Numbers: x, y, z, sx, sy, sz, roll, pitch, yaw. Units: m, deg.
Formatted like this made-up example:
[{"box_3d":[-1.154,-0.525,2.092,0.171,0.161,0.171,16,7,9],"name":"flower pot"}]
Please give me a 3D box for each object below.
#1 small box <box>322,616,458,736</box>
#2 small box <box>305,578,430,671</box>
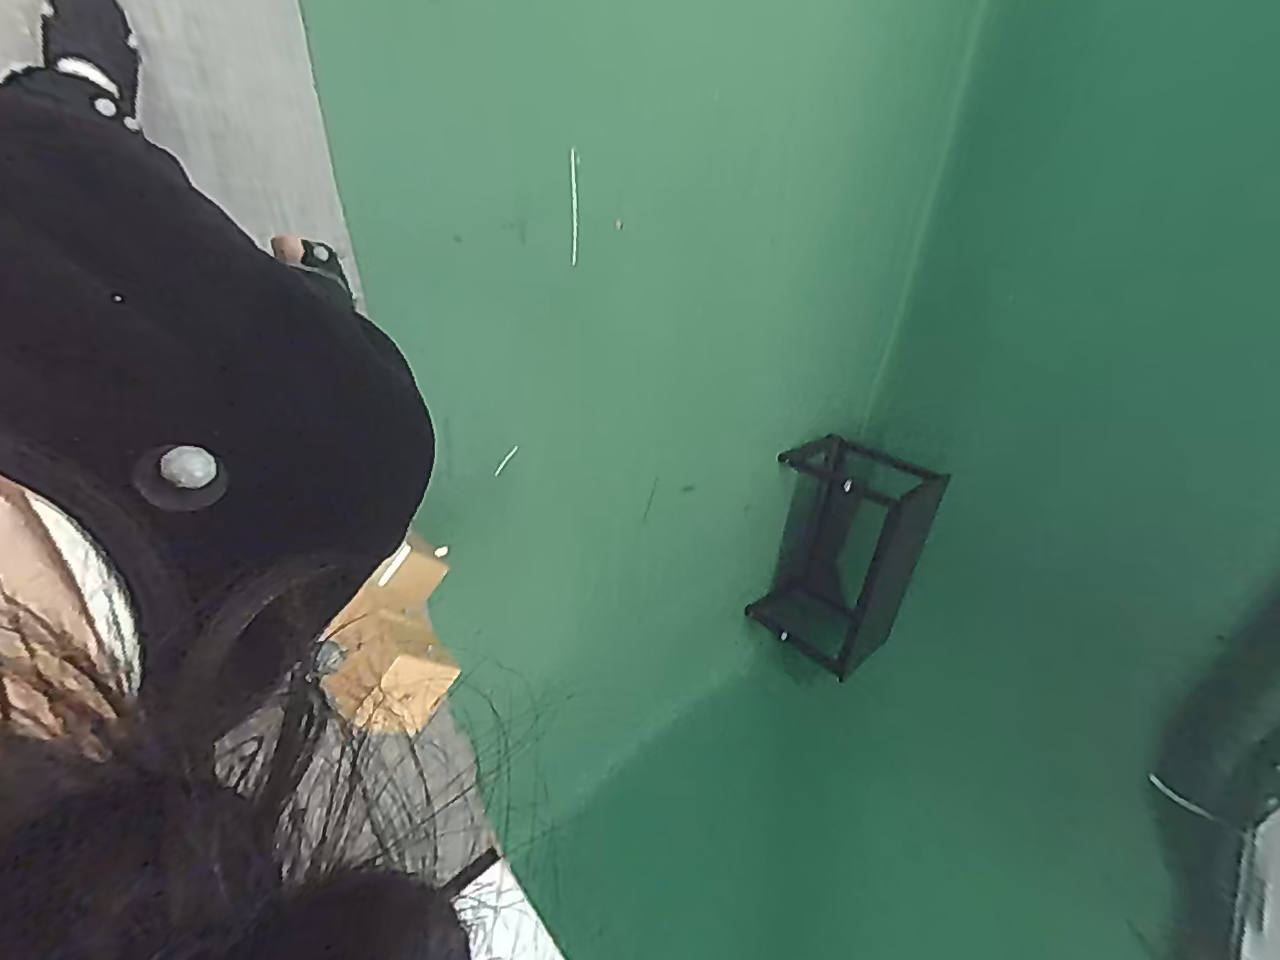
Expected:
[{"box_3d":[-0.539,0.420,1.168,0.168,0.176,0.179,-54,140,-9],"name":"small box"},{"box_3d":[-0.643,0.357,1.277,0.168,0.176,0.179,-52,139,-10],"name":"small box"}]
